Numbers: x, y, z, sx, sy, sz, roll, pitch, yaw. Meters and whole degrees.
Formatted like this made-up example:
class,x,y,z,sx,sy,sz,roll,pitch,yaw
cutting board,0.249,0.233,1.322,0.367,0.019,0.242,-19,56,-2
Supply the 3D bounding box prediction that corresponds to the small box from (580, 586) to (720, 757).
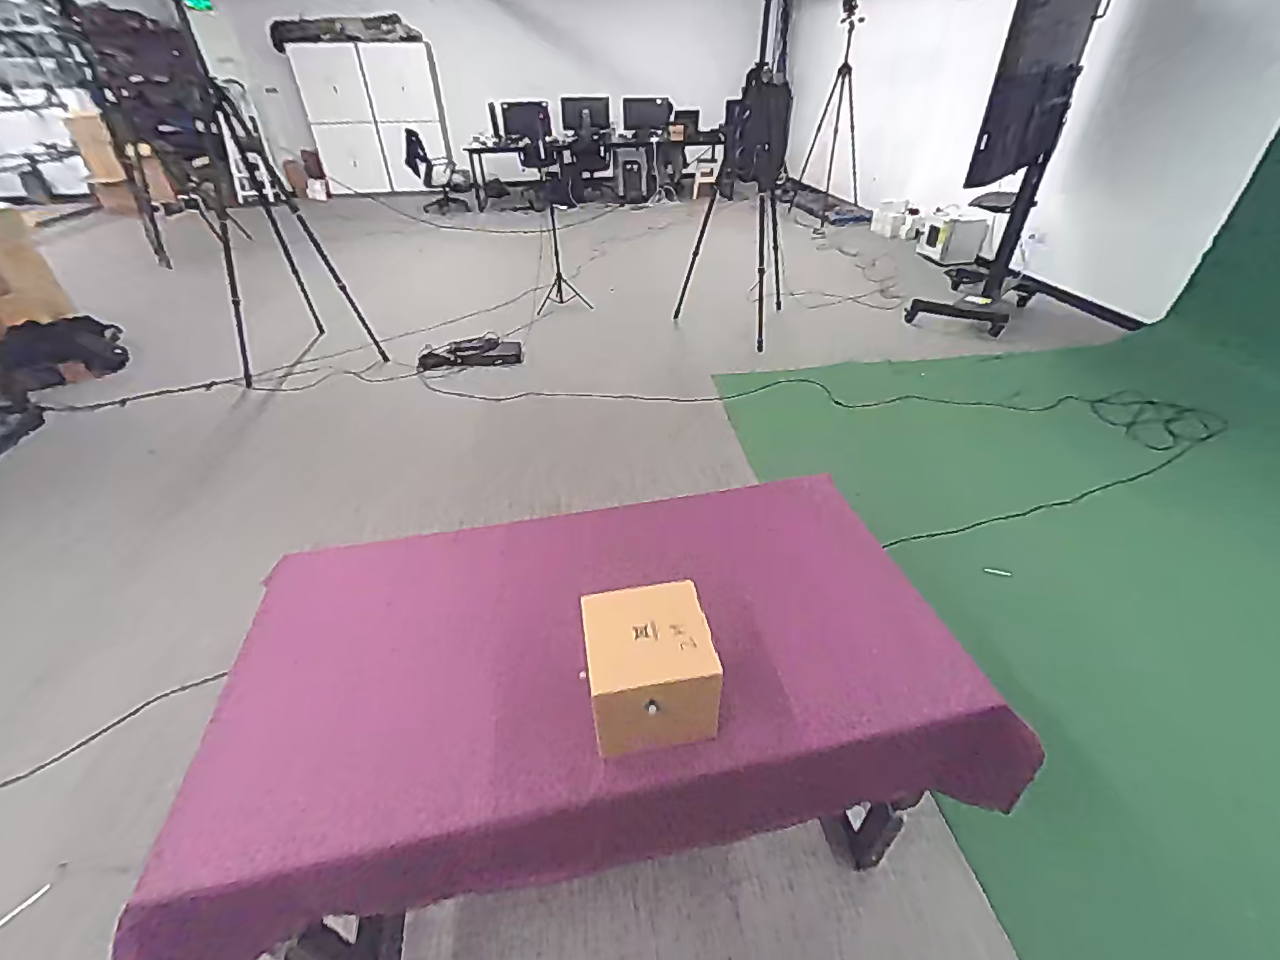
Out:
class,x,y,z,sx,sy,sz,roll,pitch,yaw
small box,0.011,0.285,0.802,0.179,0.176,0.168,-6,38,-7
